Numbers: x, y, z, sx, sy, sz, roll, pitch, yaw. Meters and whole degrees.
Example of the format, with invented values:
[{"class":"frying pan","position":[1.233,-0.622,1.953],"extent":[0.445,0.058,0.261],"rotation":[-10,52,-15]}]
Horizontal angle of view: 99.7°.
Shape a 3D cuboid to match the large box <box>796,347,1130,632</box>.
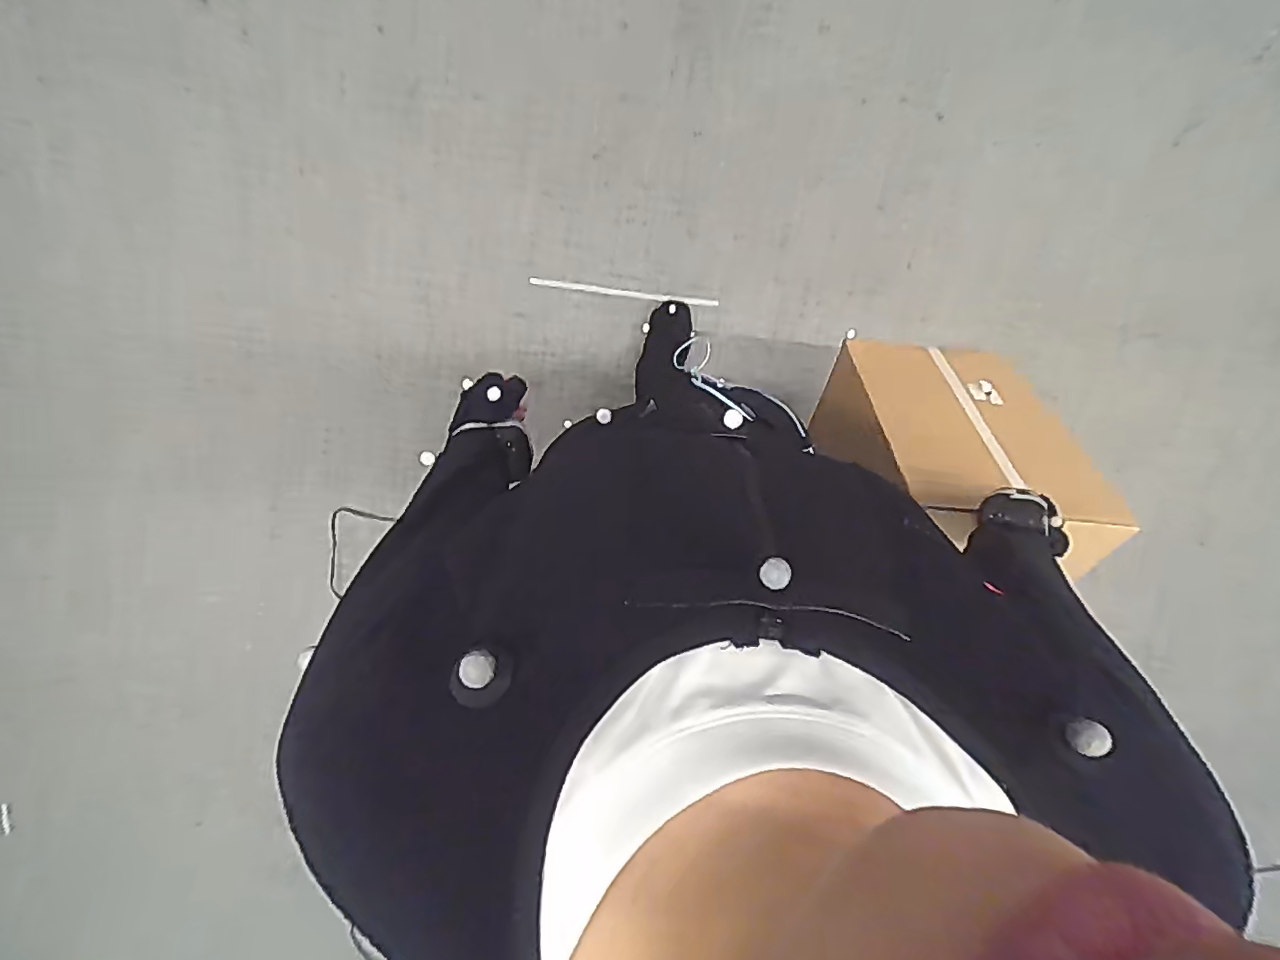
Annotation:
[{"class":"large box","position":[0.501,0.014,0.962],"extent":[0.320,0.408,0.320],"rotation":[6,135,-3]}]
